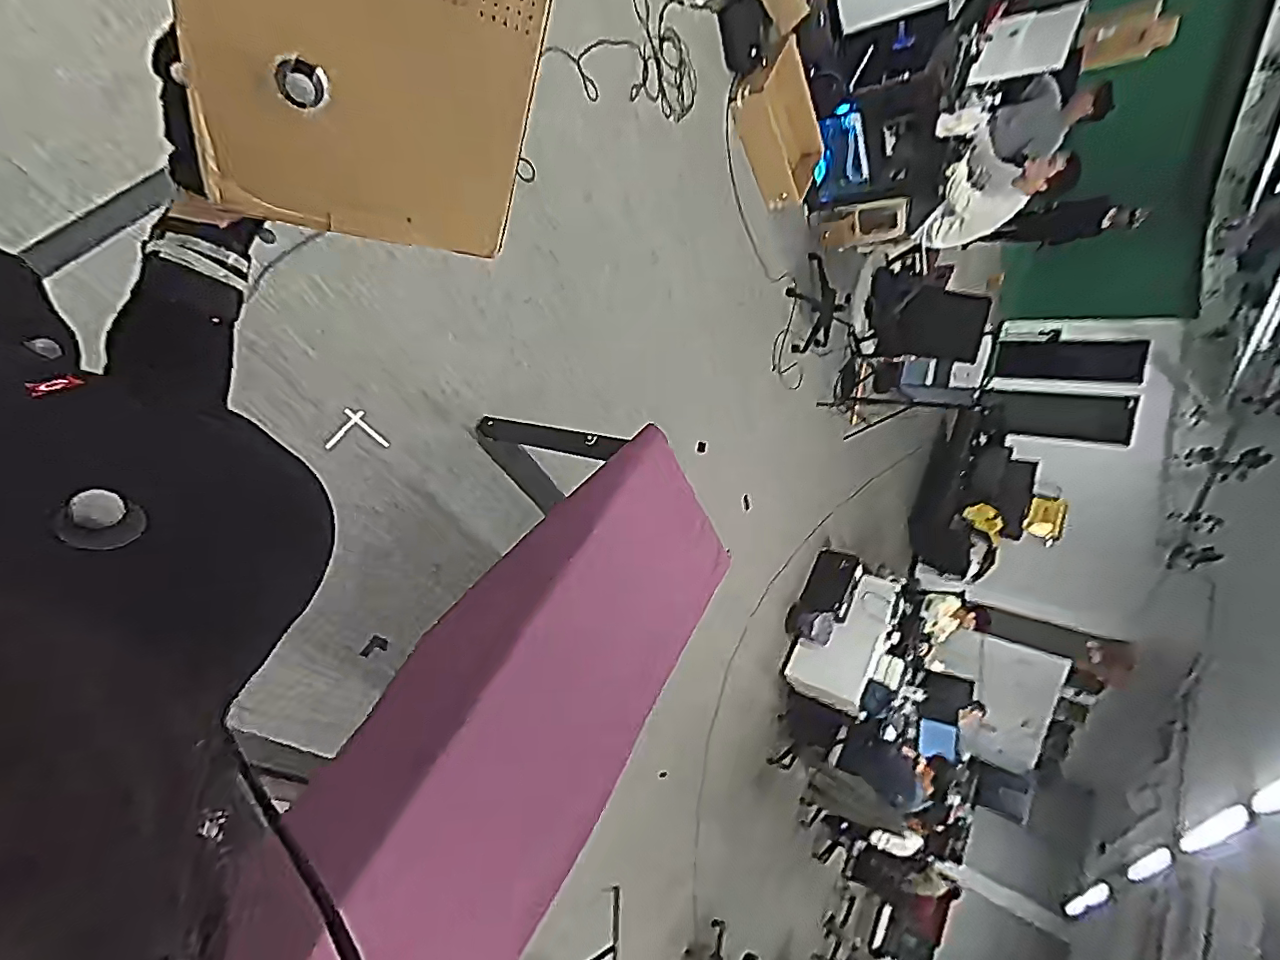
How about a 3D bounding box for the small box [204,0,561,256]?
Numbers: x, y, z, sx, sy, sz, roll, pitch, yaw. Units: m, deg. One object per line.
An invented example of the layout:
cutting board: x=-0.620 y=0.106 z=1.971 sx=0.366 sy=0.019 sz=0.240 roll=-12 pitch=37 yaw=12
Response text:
small box: x=-0.162 y=-0.273 z=0.334 sx=0.168 sy=0.179 sz=0.176 roll=-1 pitch=139 yaw=-33
